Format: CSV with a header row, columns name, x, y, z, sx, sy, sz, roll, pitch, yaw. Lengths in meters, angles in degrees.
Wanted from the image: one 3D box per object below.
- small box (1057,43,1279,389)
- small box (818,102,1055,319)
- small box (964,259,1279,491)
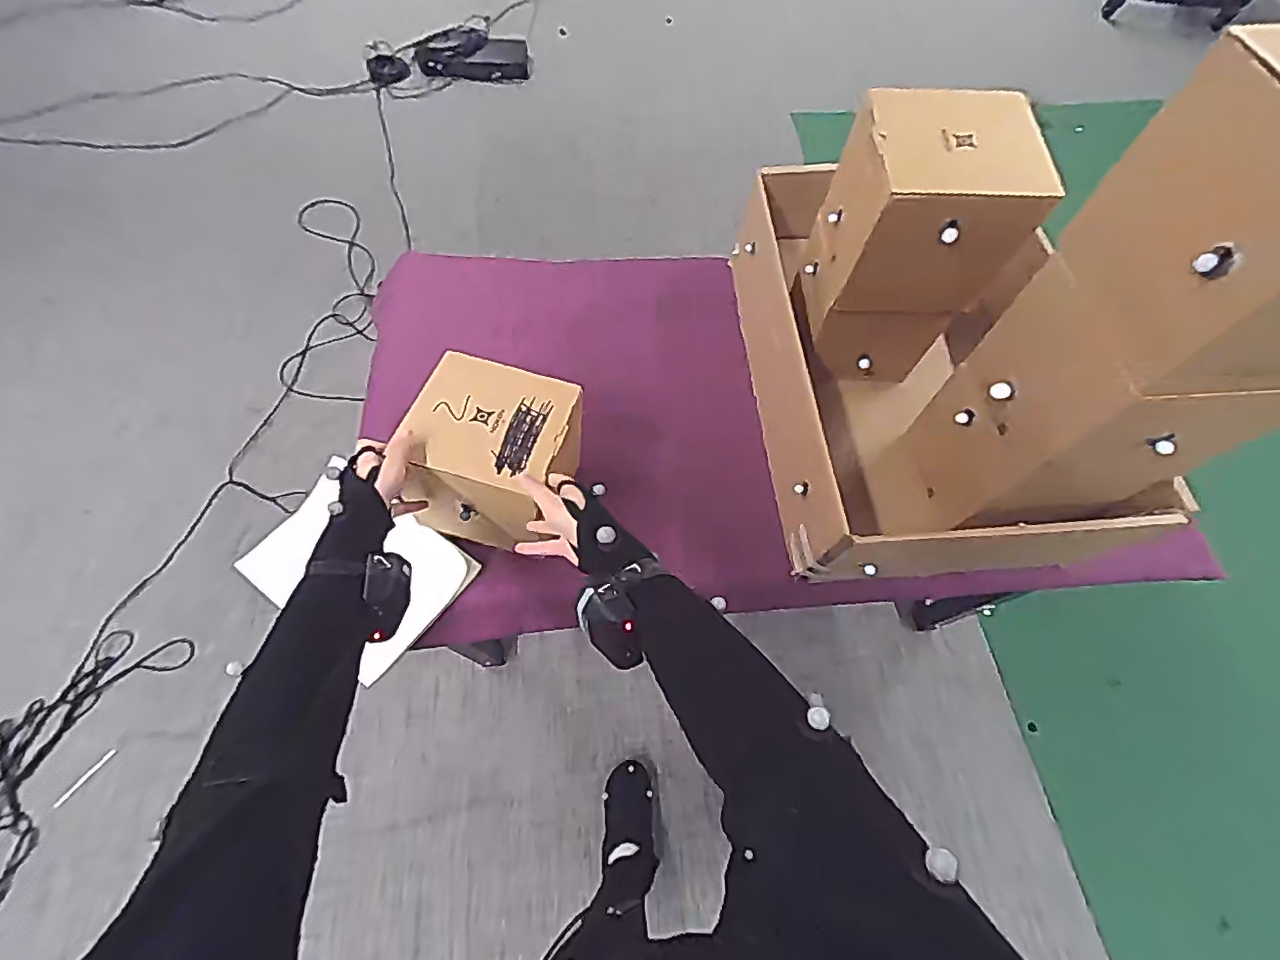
name,x,y,z,sx,sy,sz,roll,pitch,yaw
small box,0.463,-0.178,0.391,0.168,0.176,0.179,-2,62,-1
small box,0.331,-0.309,0.644,0.179,0.176,0.168,1,66,1
small box,0.467,-0.098,0.534,0.179,0.176,0.168,-3,63,0
